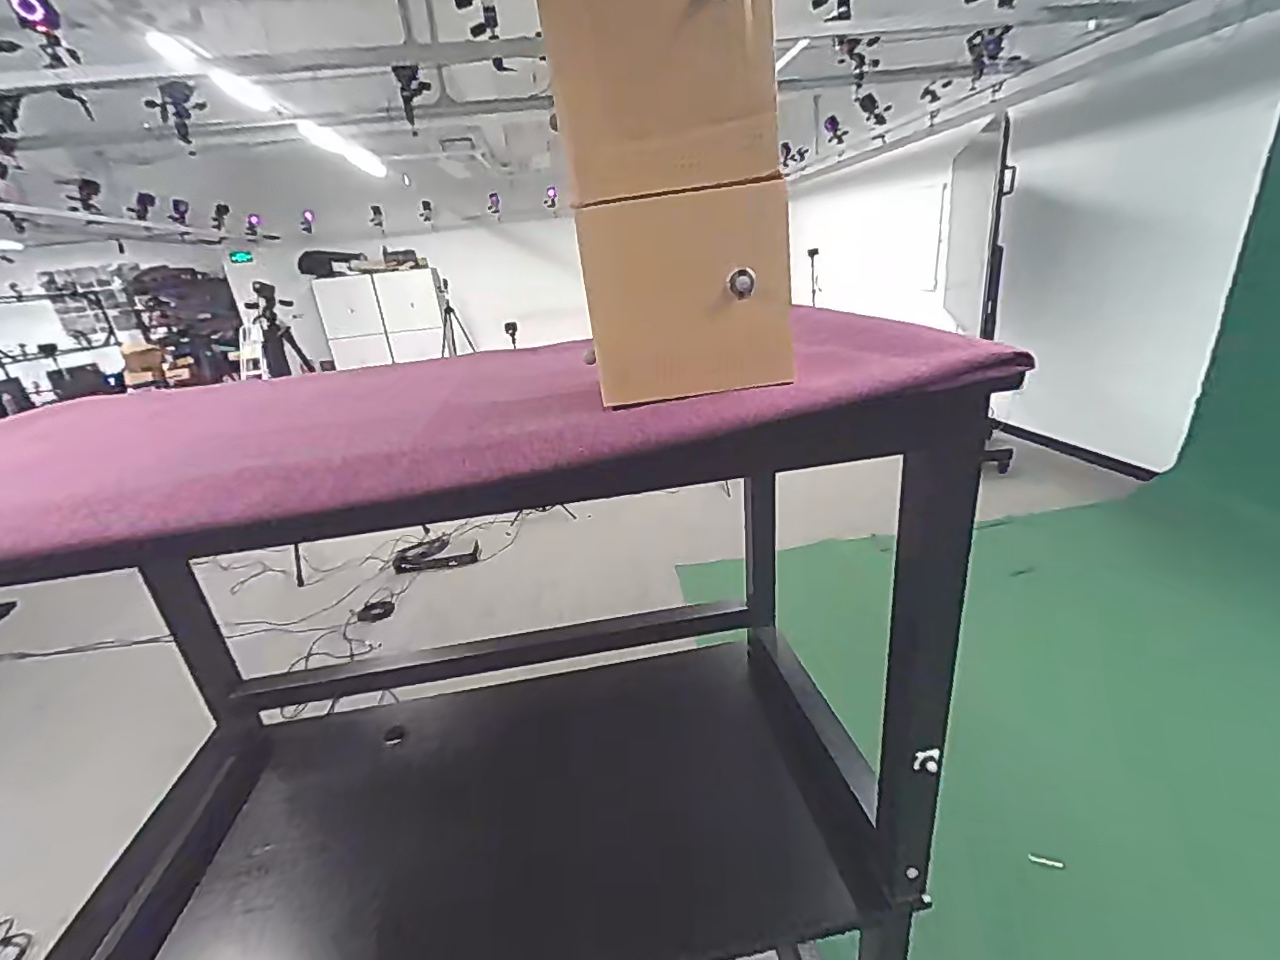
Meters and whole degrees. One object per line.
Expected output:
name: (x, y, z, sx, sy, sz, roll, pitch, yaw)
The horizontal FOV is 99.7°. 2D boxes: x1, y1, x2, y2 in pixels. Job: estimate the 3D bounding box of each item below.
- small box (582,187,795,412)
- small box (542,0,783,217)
small box: (0.045, -0.173, 0.536, 0.179, 0.176, 0.168, -8, 18, 0)
small box: (0.023, -0.327, 0.490, 0.179, 0.176, 0.168, -6, 18, 3)
